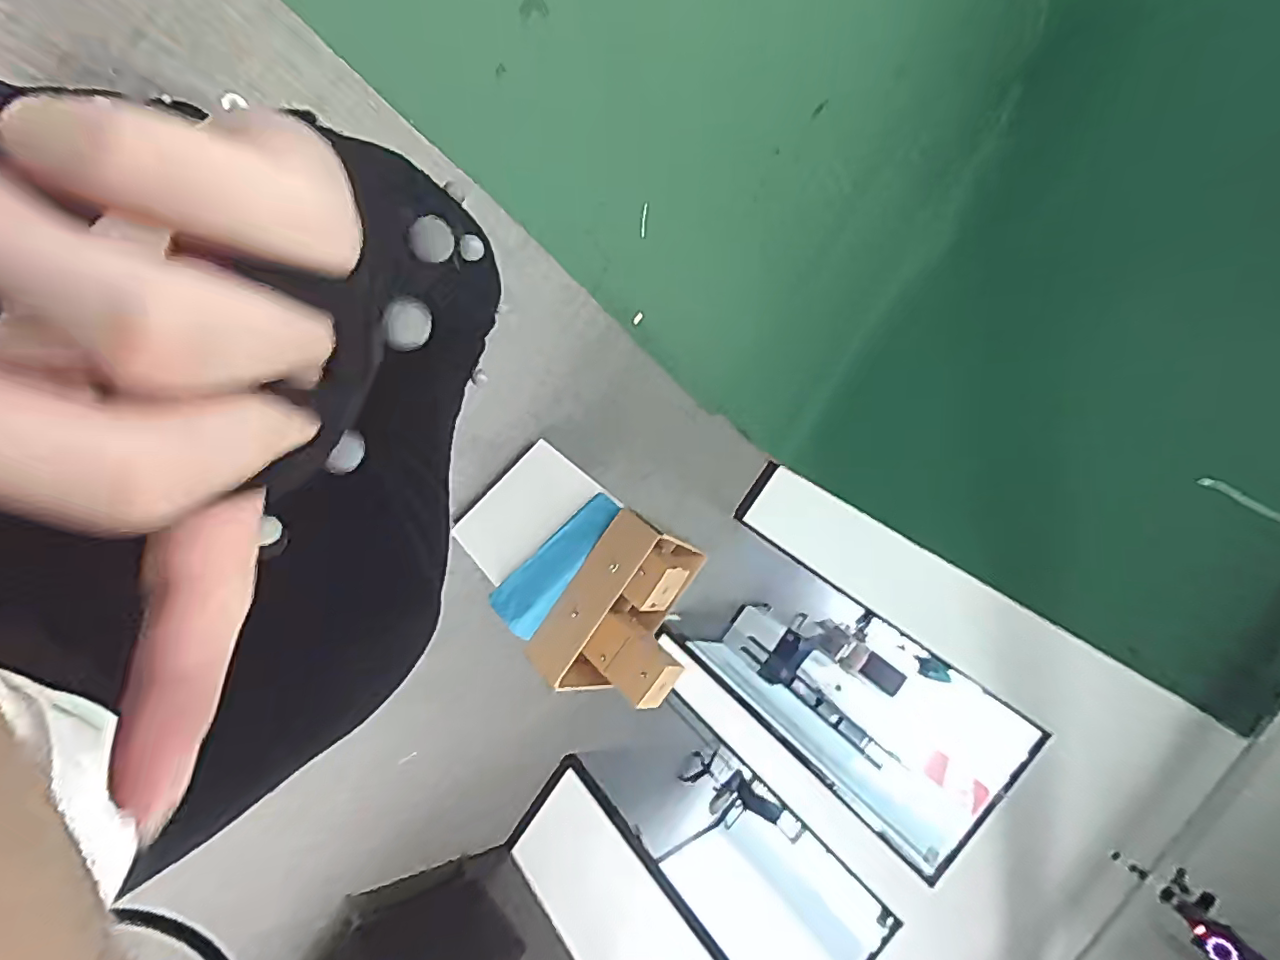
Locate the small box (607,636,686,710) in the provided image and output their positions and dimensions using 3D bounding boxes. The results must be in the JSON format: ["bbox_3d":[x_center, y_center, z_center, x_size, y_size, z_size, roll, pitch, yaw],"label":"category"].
[{"bbox_3d":[0.020,0.655,1.843,0.179,0.176,0.168,-54,146,0],"label":"small box"}]
